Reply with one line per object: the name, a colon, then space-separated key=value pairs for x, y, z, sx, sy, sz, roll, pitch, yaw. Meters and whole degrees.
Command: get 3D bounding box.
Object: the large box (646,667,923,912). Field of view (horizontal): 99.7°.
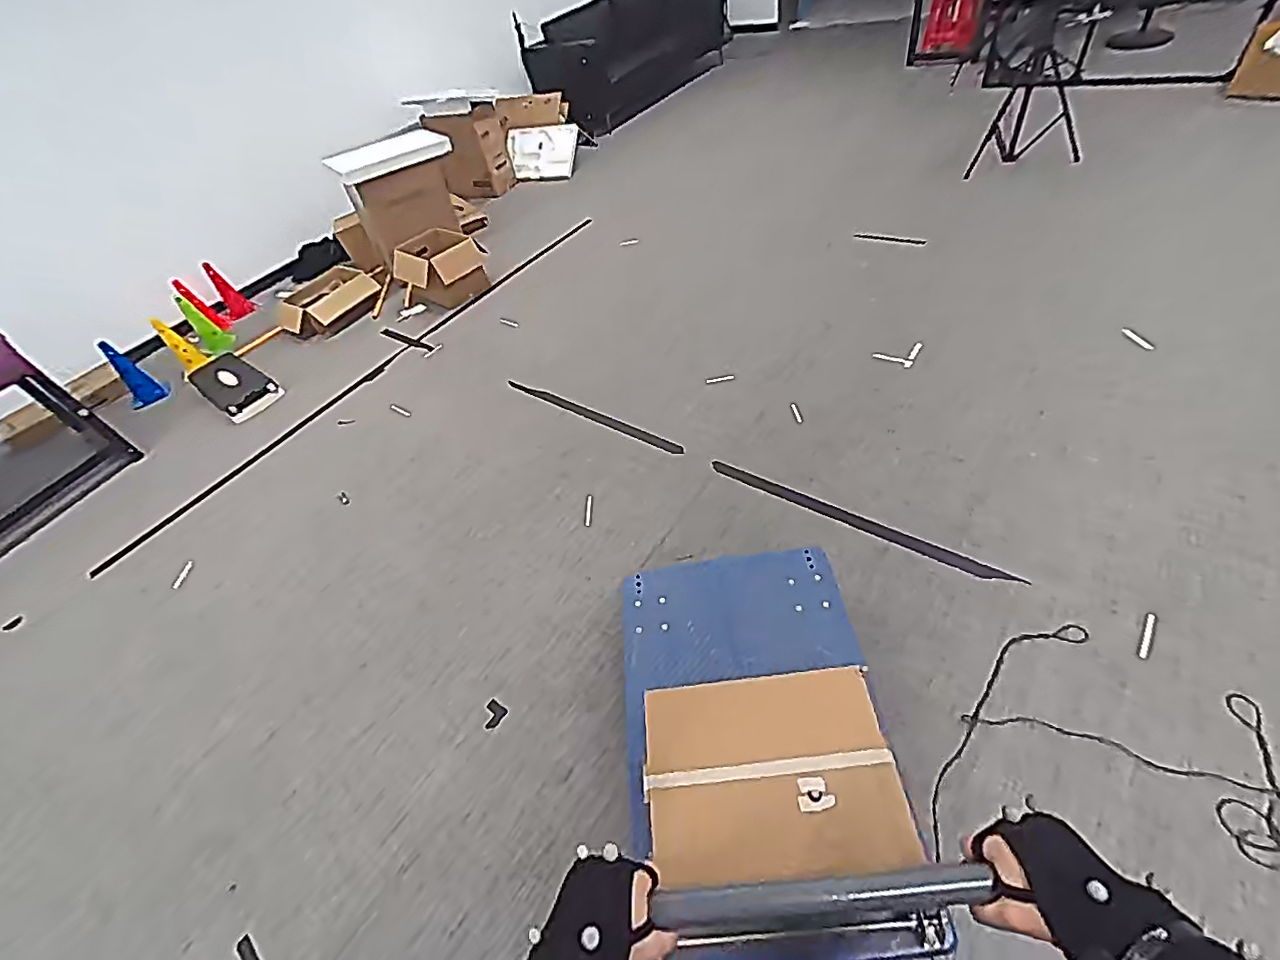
large box: x=0.238 y=0.588 z=1.018 sx=0.408 sy=0.320 sz=0.320 roll=-9 pitch=48 yaw=5
